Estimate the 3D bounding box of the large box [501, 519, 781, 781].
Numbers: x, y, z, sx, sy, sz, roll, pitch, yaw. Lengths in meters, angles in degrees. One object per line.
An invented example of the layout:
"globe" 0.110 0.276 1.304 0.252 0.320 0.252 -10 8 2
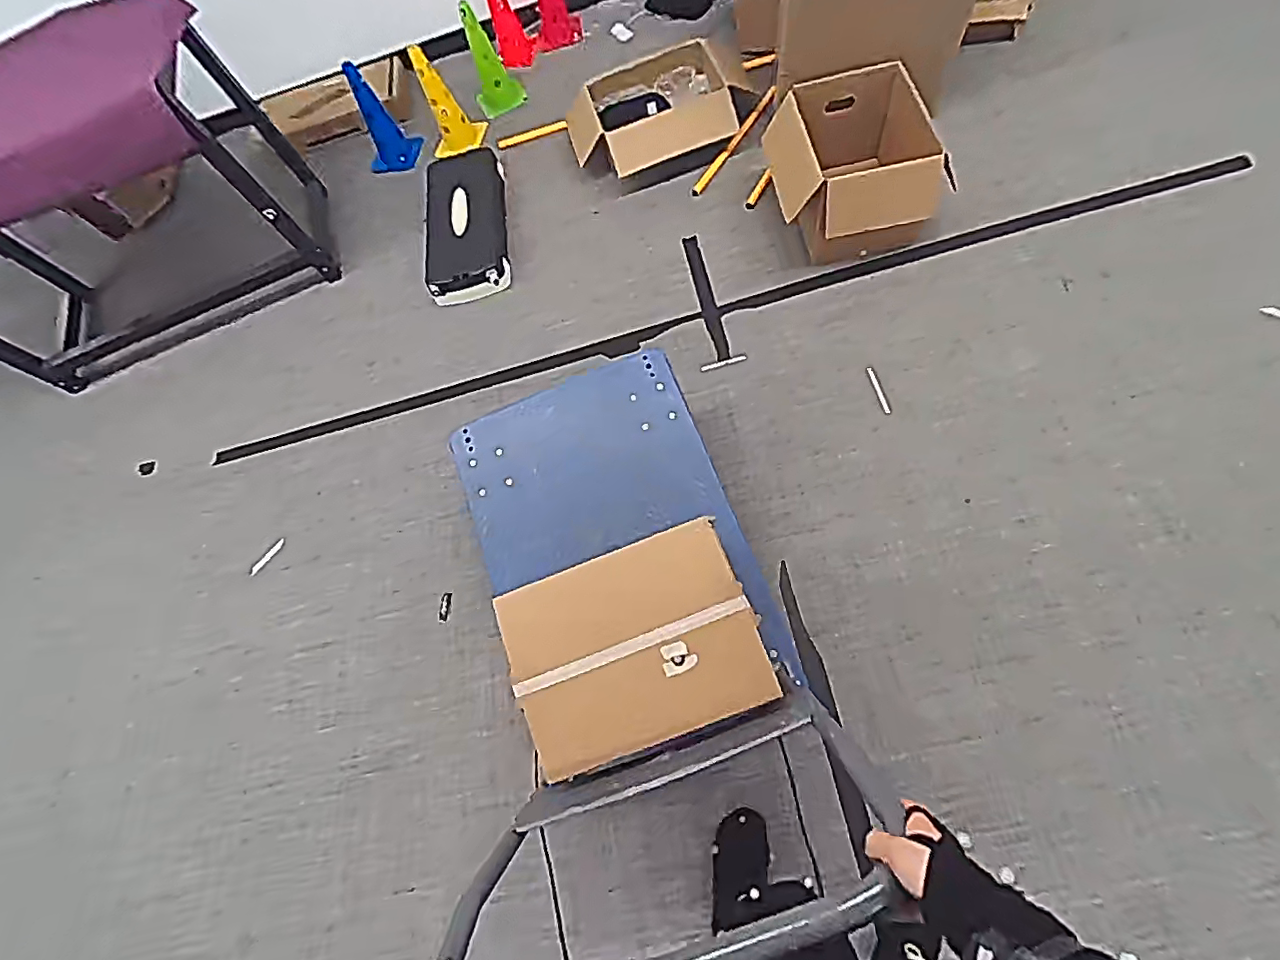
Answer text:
"large box" 0.005 0.310 1.046 0.408 0.320 0.320 -21 77 1
